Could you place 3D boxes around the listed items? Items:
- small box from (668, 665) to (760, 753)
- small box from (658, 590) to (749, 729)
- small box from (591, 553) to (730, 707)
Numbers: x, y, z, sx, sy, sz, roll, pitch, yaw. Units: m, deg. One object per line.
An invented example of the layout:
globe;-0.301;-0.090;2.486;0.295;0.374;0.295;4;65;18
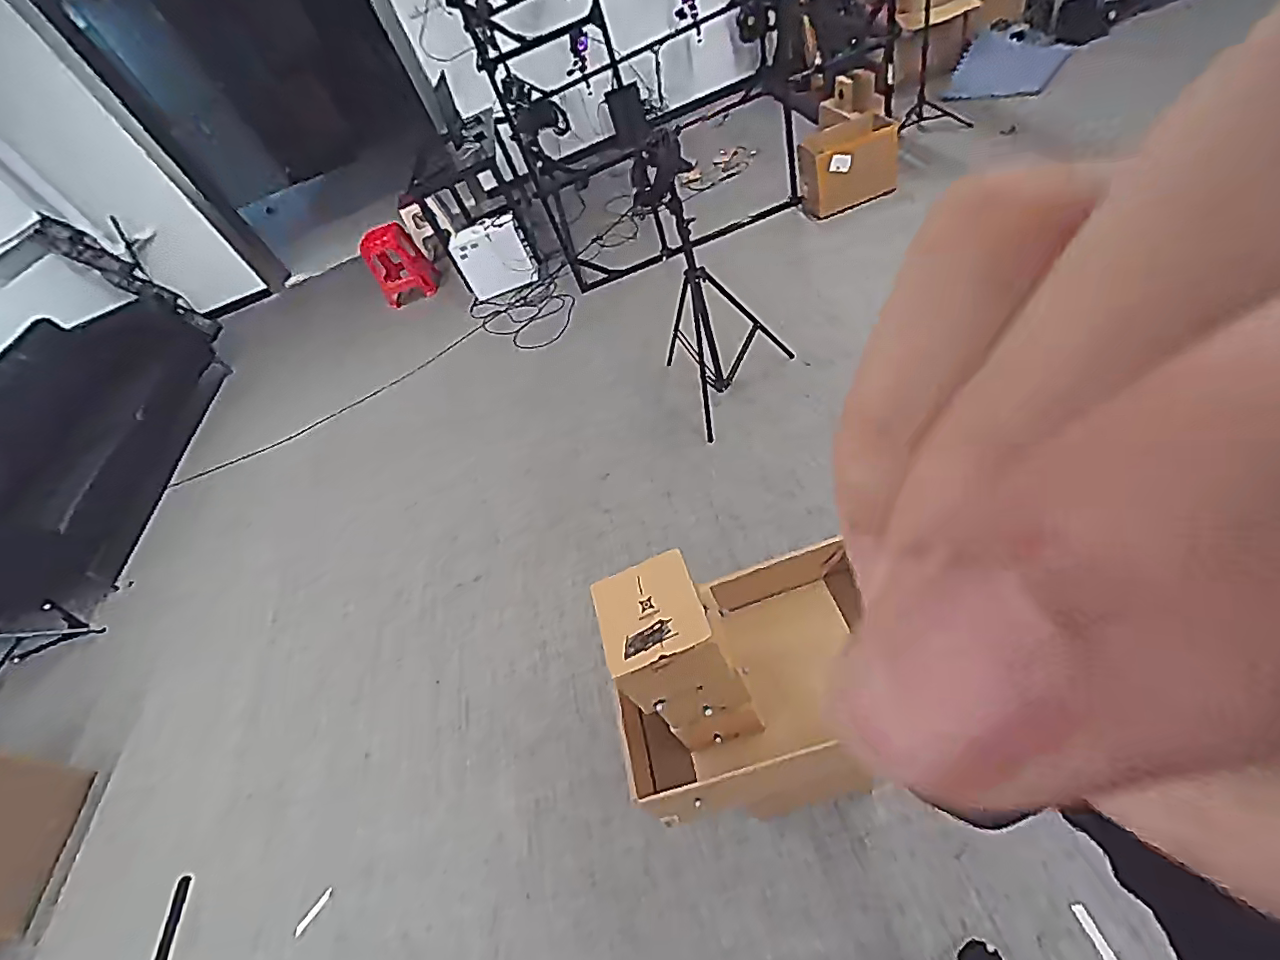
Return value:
small box;0.142;0.451;1.152;0.168;0.176;0.179;-21;47;5
small box;0.096;0.345;1.035;0.168;0.176;0.179;-22;47;5
small box;0.037;0.259;0.906;0.168;0.176;0.179;-23;46;3
